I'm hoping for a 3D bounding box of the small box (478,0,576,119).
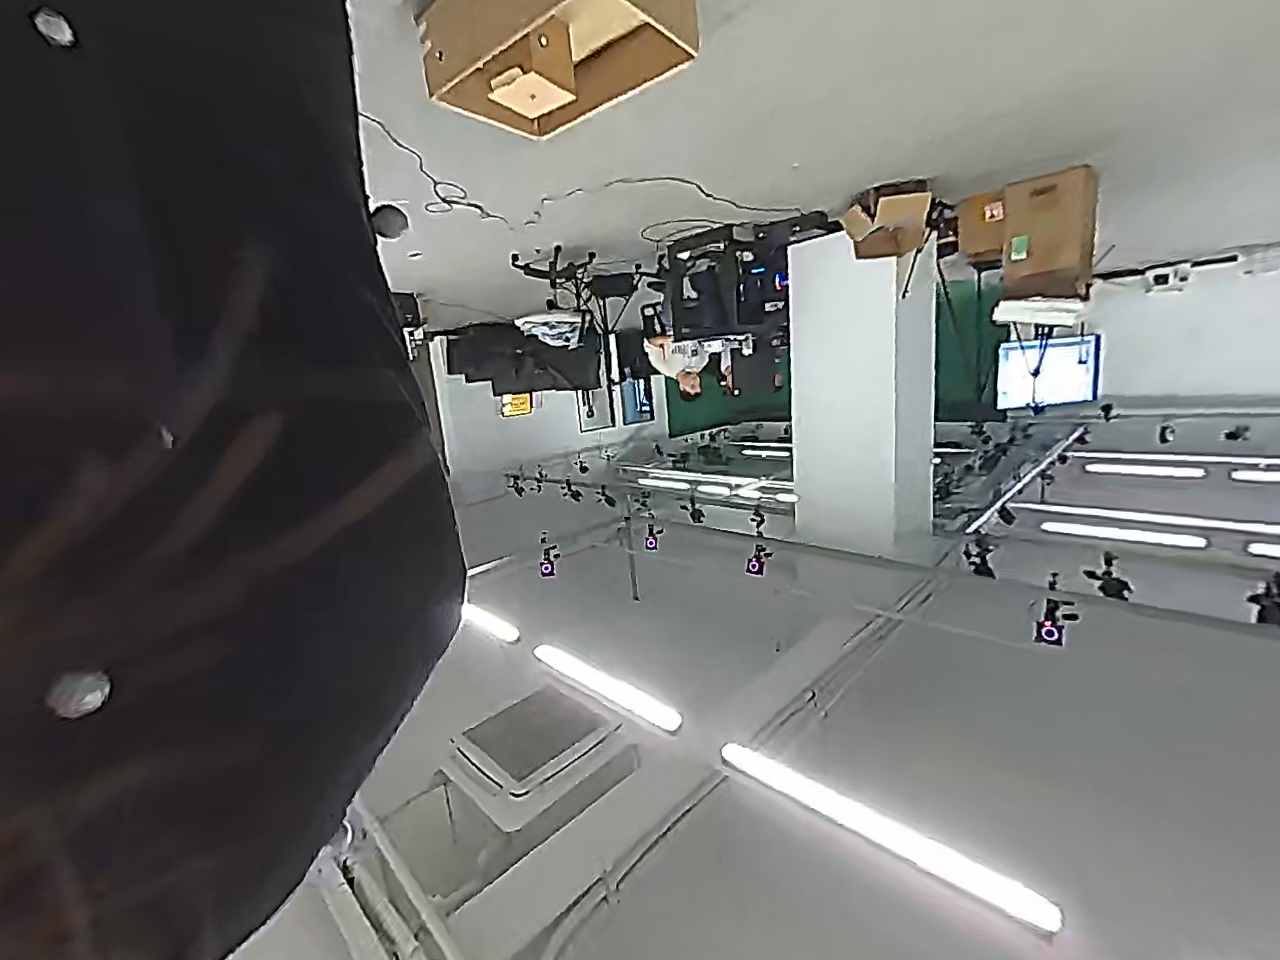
[{"bbox_3d":[-0.289,-1.070,1.380,0.168,0.176,0.179,1,-167,31],"label":"small box"}]
